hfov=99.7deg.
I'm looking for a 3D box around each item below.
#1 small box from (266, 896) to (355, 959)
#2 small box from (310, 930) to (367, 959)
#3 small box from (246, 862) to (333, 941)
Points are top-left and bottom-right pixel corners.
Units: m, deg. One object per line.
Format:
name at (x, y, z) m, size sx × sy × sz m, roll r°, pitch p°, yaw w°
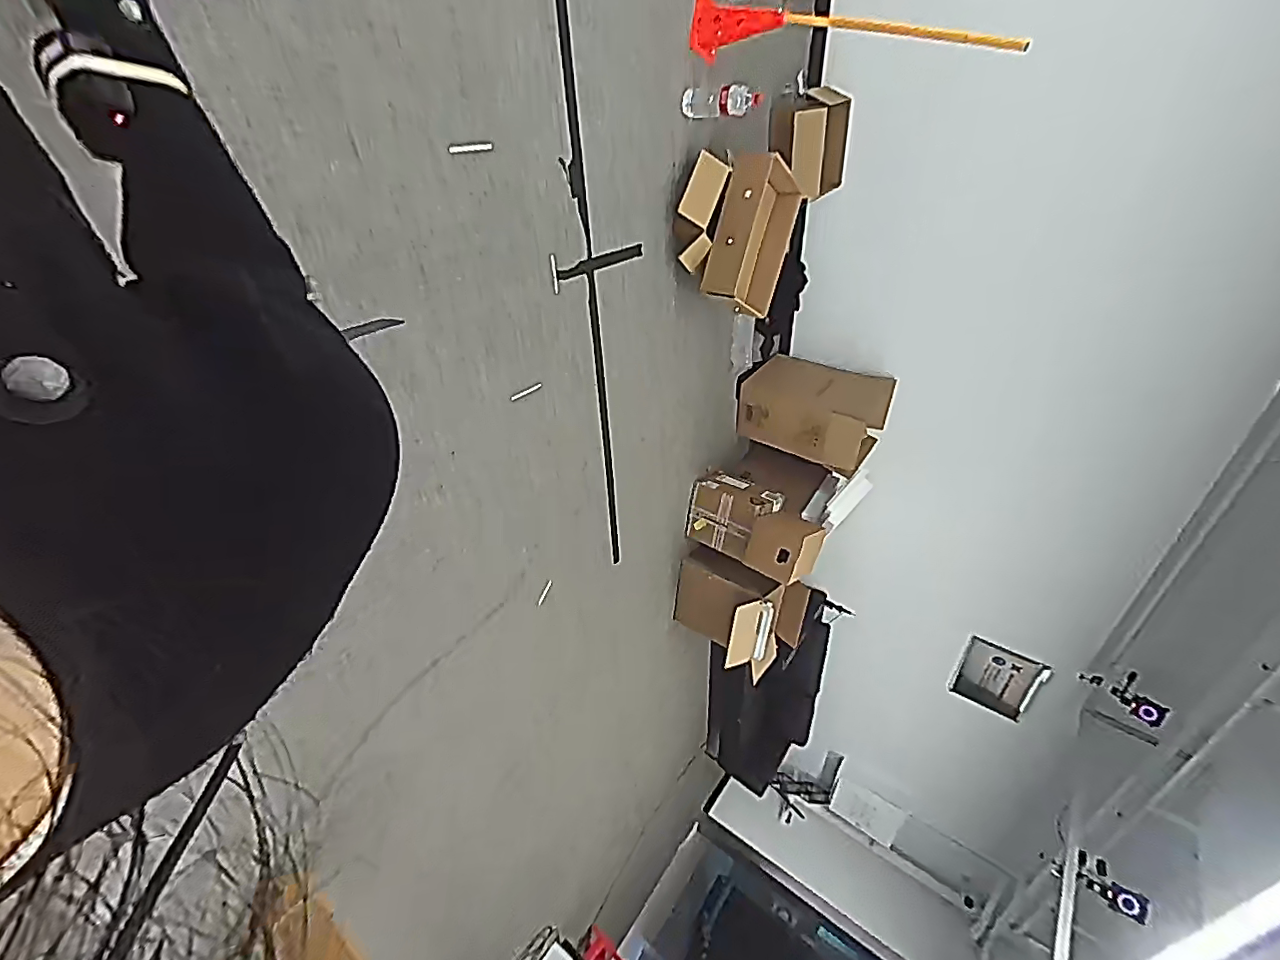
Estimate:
small box at (-1.072, 1.509, 1.761) m, size 0.168 × 0.176 × 0.179 m, roll -39°, pitch 139°, yaw -37°
small box at (-0.946, 1.564, 1.674) m, size 0.179 × 0.176 × 0.168 m, roll -40°, pitch 138°, yaw -37°
small box at (-1.199, 1.456, 1.846) m, size 0.168 × 0.176 × 0.179 m, roll -39°, pitch 139°, yaw -38°
